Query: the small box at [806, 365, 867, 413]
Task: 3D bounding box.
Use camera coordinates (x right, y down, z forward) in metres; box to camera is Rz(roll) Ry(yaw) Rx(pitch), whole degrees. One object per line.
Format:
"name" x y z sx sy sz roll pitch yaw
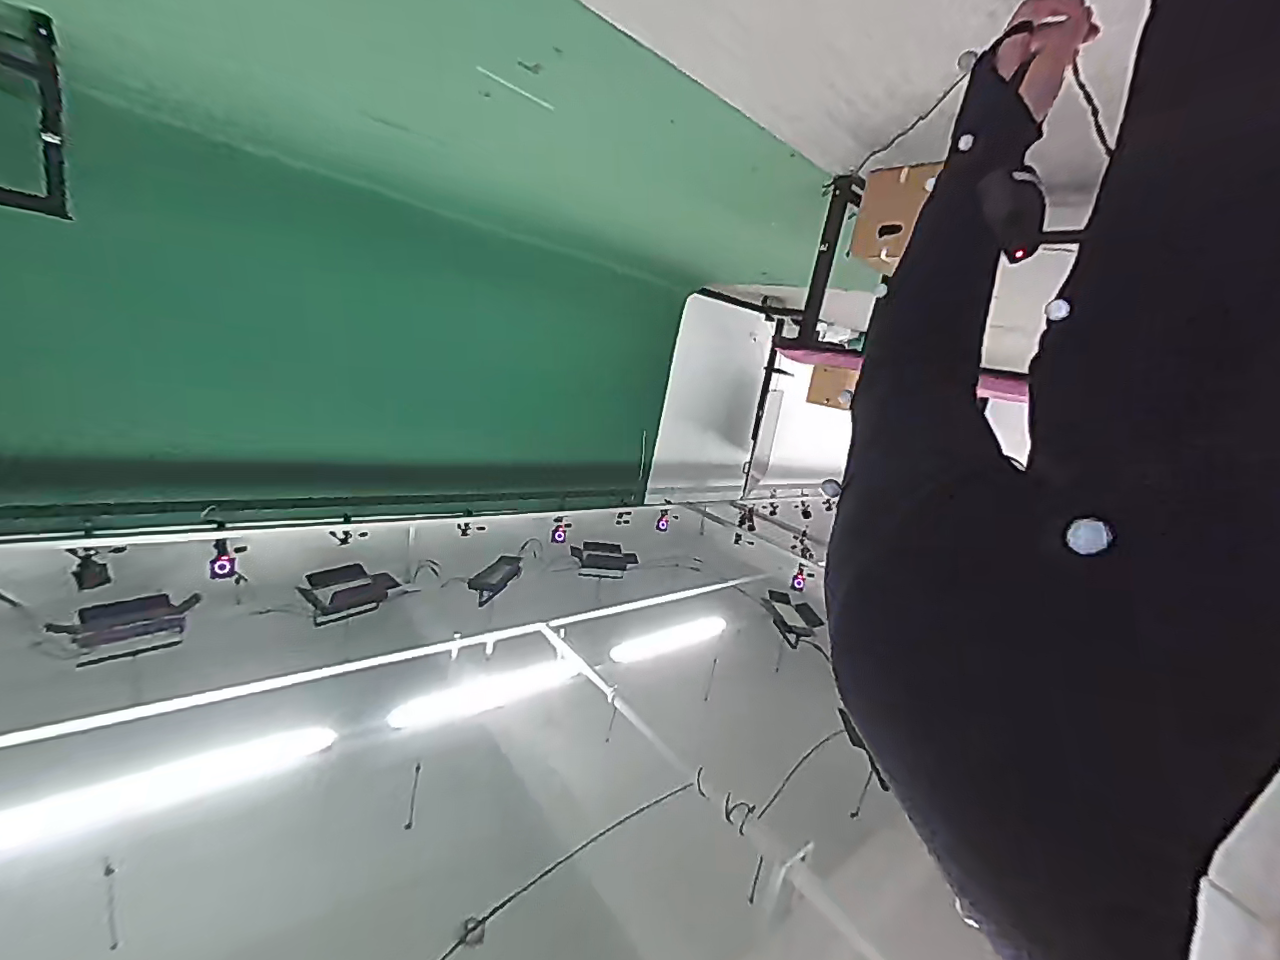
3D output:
"small box" 0.832 -0.385 2.282 0.179 0.176 0.168 -4 -162 -42
